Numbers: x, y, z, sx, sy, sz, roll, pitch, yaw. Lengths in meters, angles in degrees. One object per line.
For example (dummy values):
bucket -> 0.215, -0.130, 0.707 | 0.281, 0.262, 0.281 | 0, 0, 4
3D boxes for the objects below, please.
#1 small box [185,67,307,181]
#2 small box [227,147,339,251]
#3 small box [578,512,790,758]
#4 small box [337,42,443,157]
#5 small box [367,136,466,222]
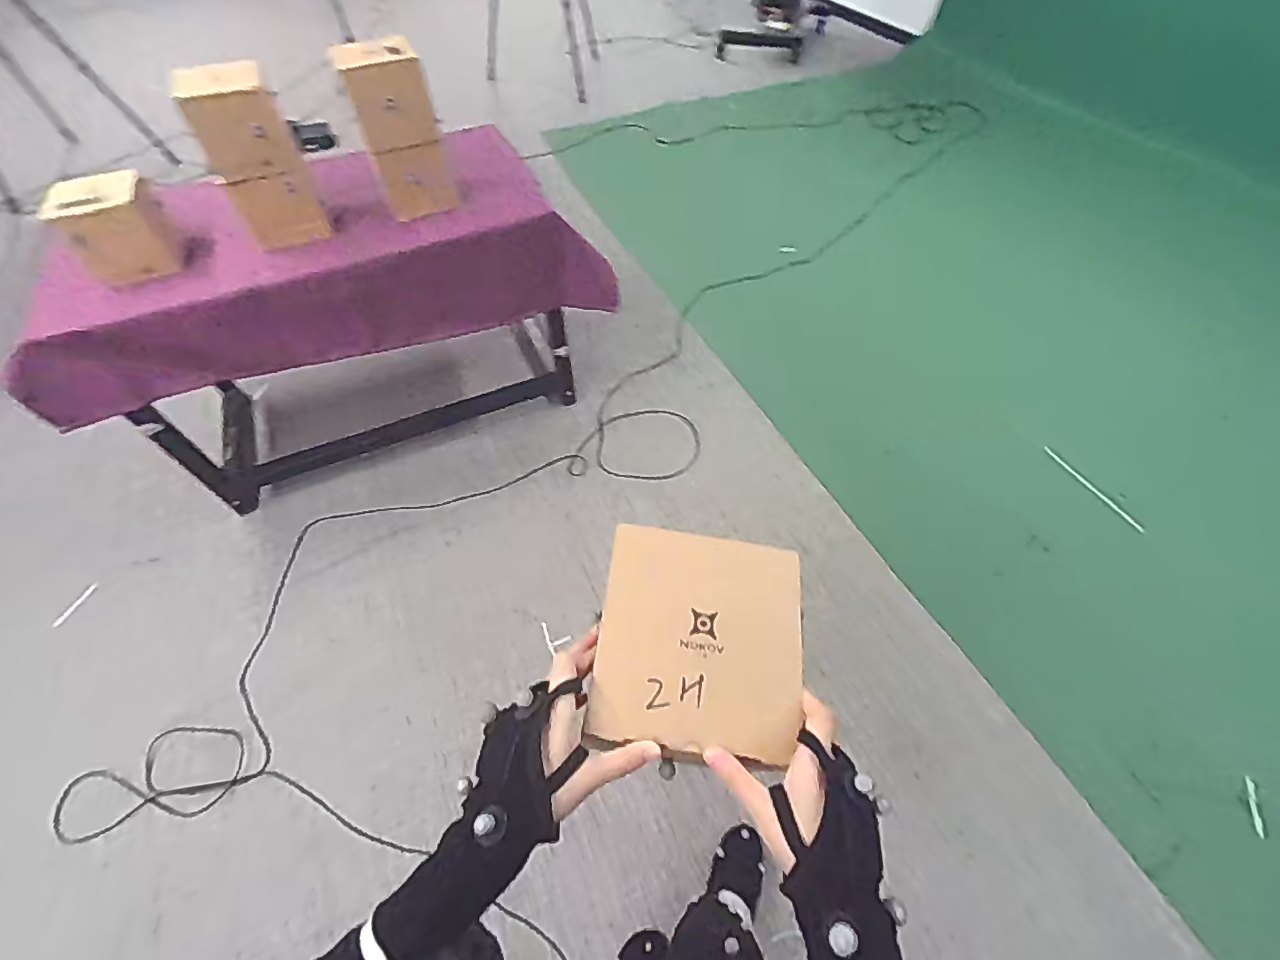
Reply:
small box -> -0.878, -0.795, 1.217 | 0.168, 0.176, 0.179 | -20, 55, -15
small box -> -0.882, -0.696, 1.347 | 0.179, 0.176, 0.168 | -19, 55, -14
small box -> 0.035, 0.155, 0.517 | 0.168, 0.176, 0.179 | 9, 60, -1
small box -> -0.583, -0.899, 1.281 | 0.179, 0.176, 0.168 | -22, 56, -14
small box -> -0.581, -0.805, 1.416 | 0.179, 0.176, 0.168 | -23, 57, -14
